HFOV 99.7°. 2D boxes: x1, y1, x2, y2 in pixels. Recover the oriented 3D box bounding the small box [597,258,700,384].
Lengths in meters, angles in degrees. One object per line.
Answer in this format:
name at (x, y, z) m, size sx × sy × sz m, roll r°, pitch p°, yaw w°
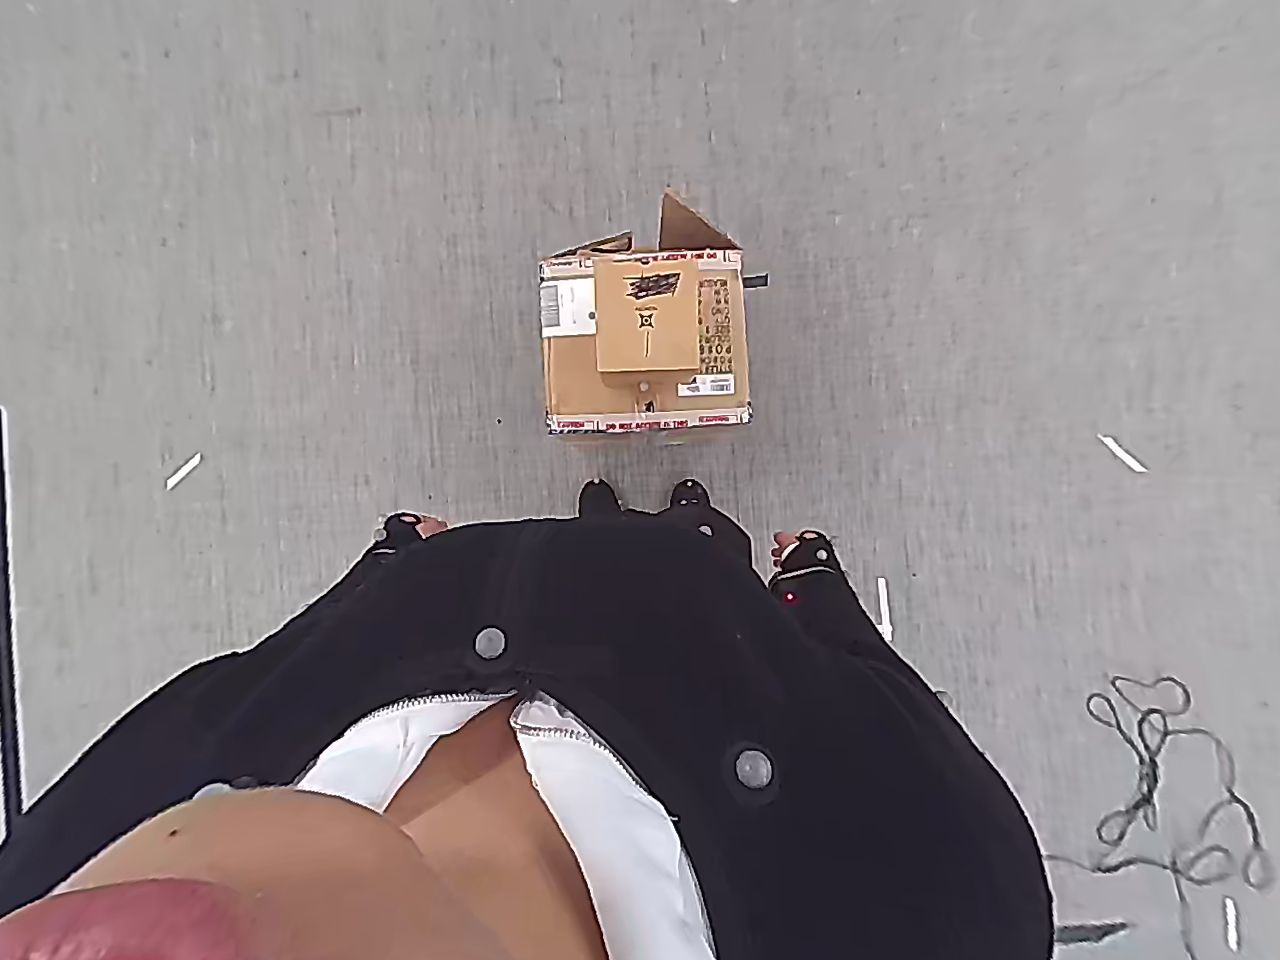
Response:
small box at (0.012, -0.266, 0.937) m, size 0.168 × 0.176 × 0.179 m, roll -2°, pitch 93°, yaw 0°
